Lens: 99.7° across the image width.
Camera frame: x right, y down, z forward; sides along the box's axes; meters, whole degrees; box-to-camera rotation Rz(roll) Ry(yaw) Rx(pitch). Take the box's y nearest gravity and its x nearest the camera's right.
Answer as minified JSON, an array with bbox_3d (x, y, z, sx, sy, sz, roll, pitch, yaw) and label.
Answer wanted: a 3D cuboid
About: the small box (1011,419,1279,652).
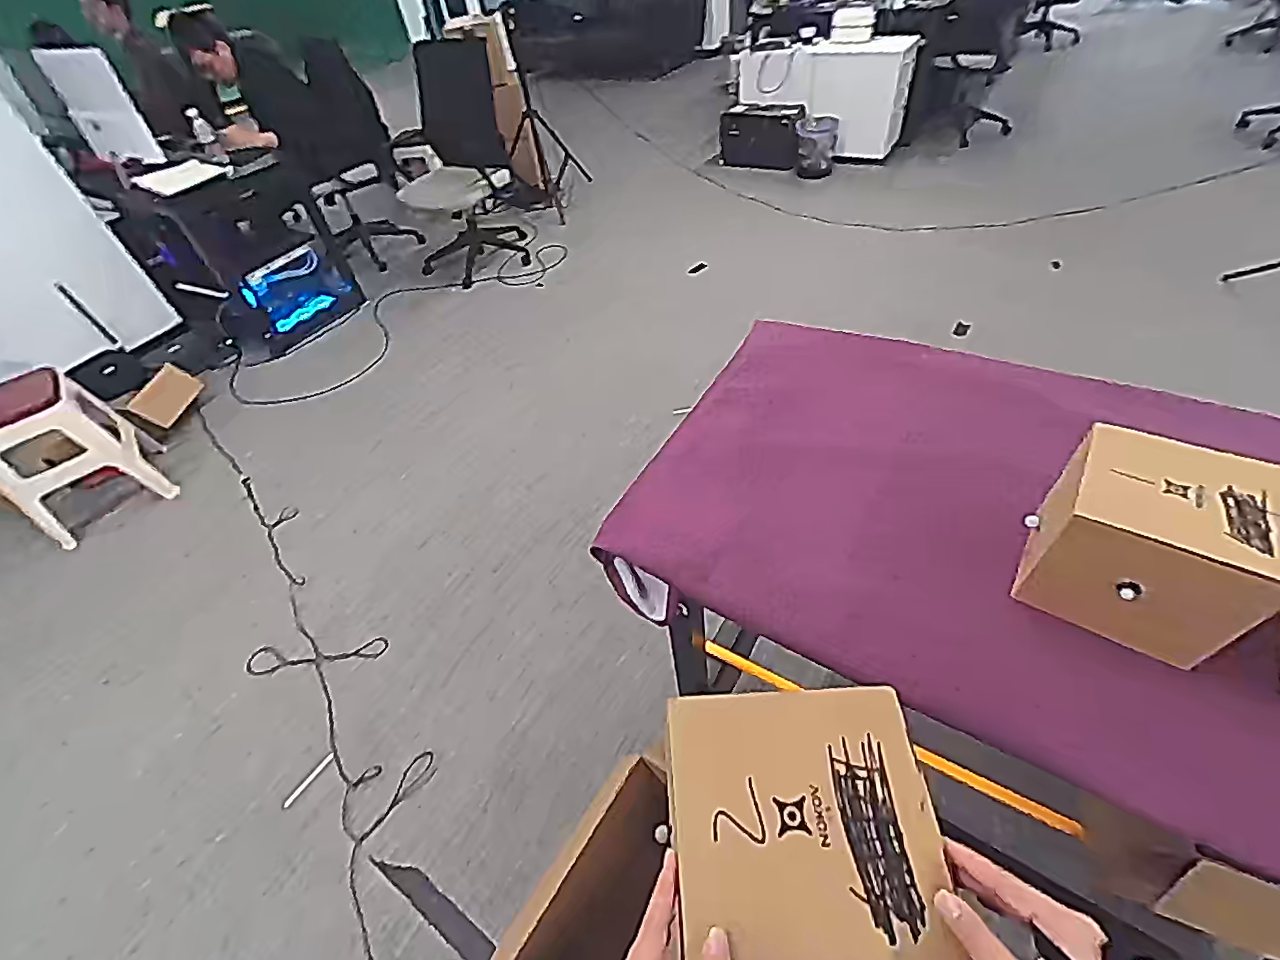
[{"bbox_3d":[0.560,0.066,0.608,0.179,0.176,0.168,24,55,29],"label":"small box"}]
